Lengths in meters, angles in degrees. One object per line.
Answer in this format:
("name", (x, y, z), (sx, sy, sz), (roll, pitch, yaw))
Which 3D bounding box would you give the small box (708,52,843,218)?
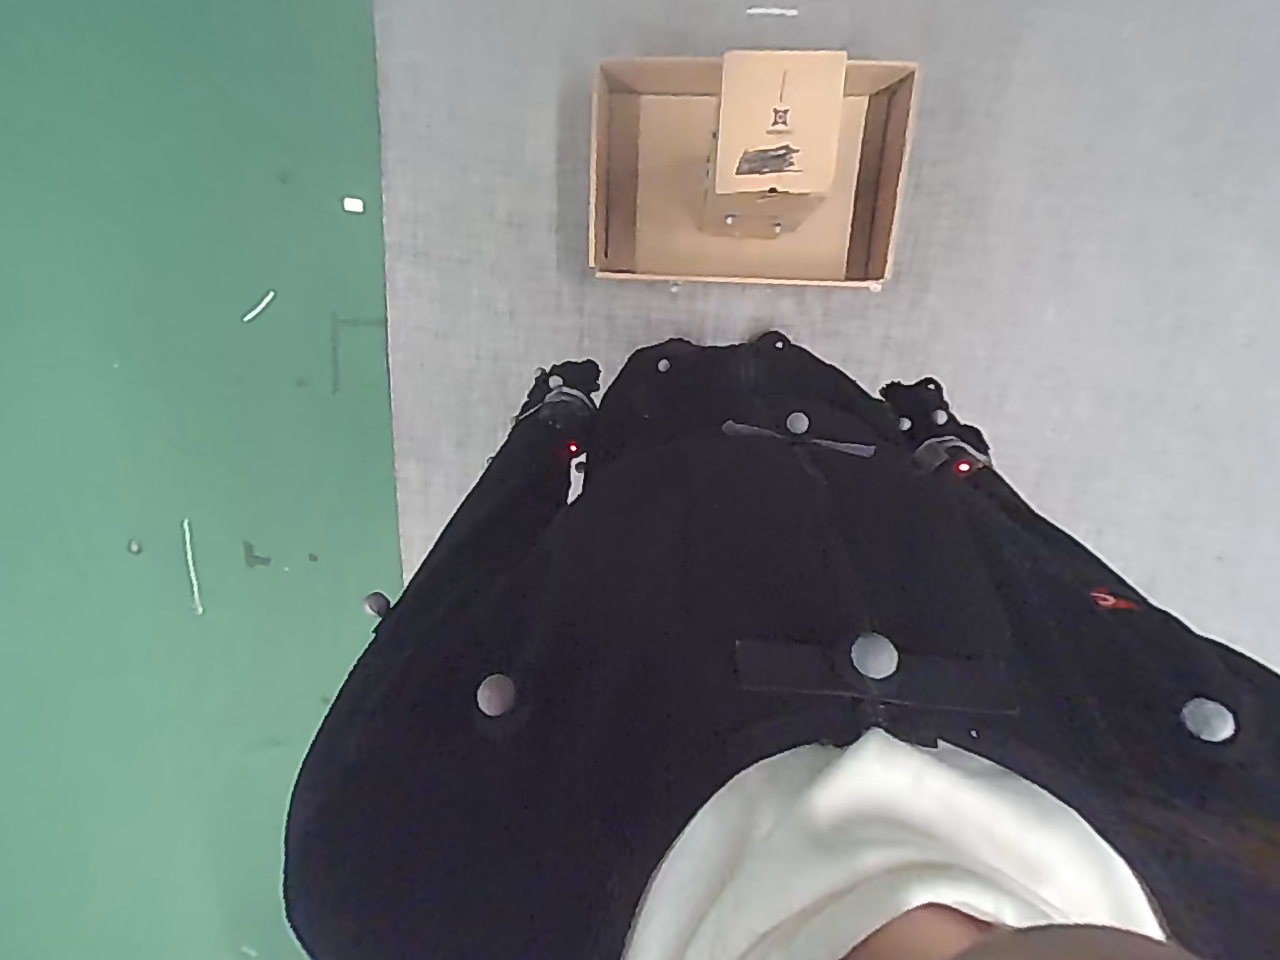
("small box", (0.194, -0.511, 0.825), (0.168, 0.176, 0.179), (4, 104, 4))

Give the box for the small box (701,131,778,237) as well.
("small box", (0.220, -0.614, 1.137), (0.179, 0.176, 0.168), (2, 104, 4))

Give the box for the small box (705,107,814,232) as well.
("small box", (0.209, -0.548, 0.968), (0.179, 0.176, 0.168), (0, 105, 5))
